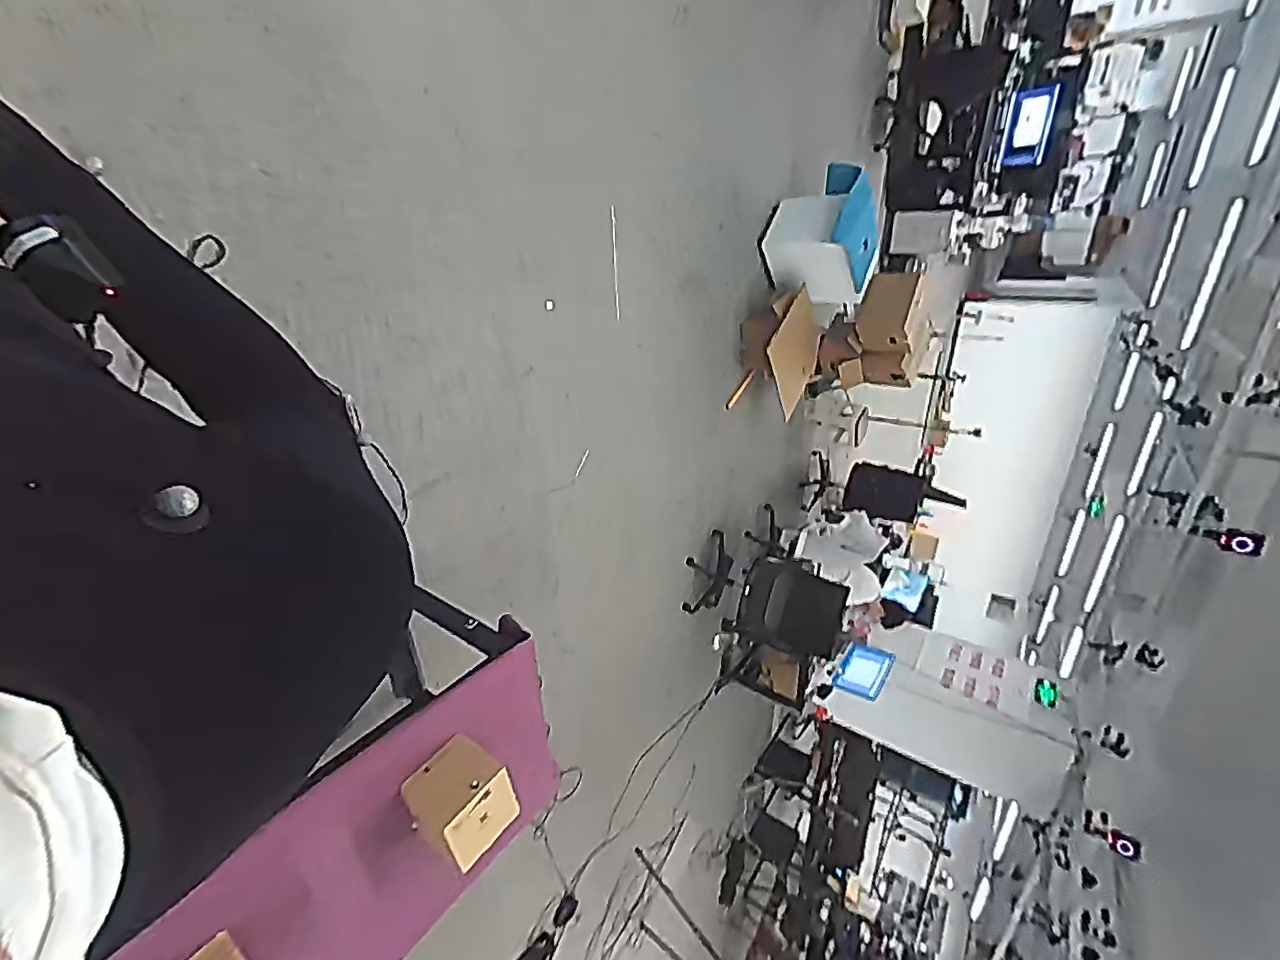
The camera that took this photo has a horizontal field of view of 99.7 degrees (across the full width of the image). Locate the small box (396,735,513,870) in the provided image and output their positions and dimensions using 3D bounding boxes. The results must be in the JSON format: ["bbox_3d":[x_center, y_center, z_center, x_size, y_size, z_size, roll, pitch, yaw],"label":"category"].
[{"bbox_3d":[-0.422,0.726,1.236,0.168,0.176,0.179,-37,132,-43],"label":"small box"}]

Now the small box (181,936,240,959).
[{"bbox_3d":[-0.718,0.901,0.875,0.168,0.176,0.179,-33,131,-46],"label":"small box"}]
